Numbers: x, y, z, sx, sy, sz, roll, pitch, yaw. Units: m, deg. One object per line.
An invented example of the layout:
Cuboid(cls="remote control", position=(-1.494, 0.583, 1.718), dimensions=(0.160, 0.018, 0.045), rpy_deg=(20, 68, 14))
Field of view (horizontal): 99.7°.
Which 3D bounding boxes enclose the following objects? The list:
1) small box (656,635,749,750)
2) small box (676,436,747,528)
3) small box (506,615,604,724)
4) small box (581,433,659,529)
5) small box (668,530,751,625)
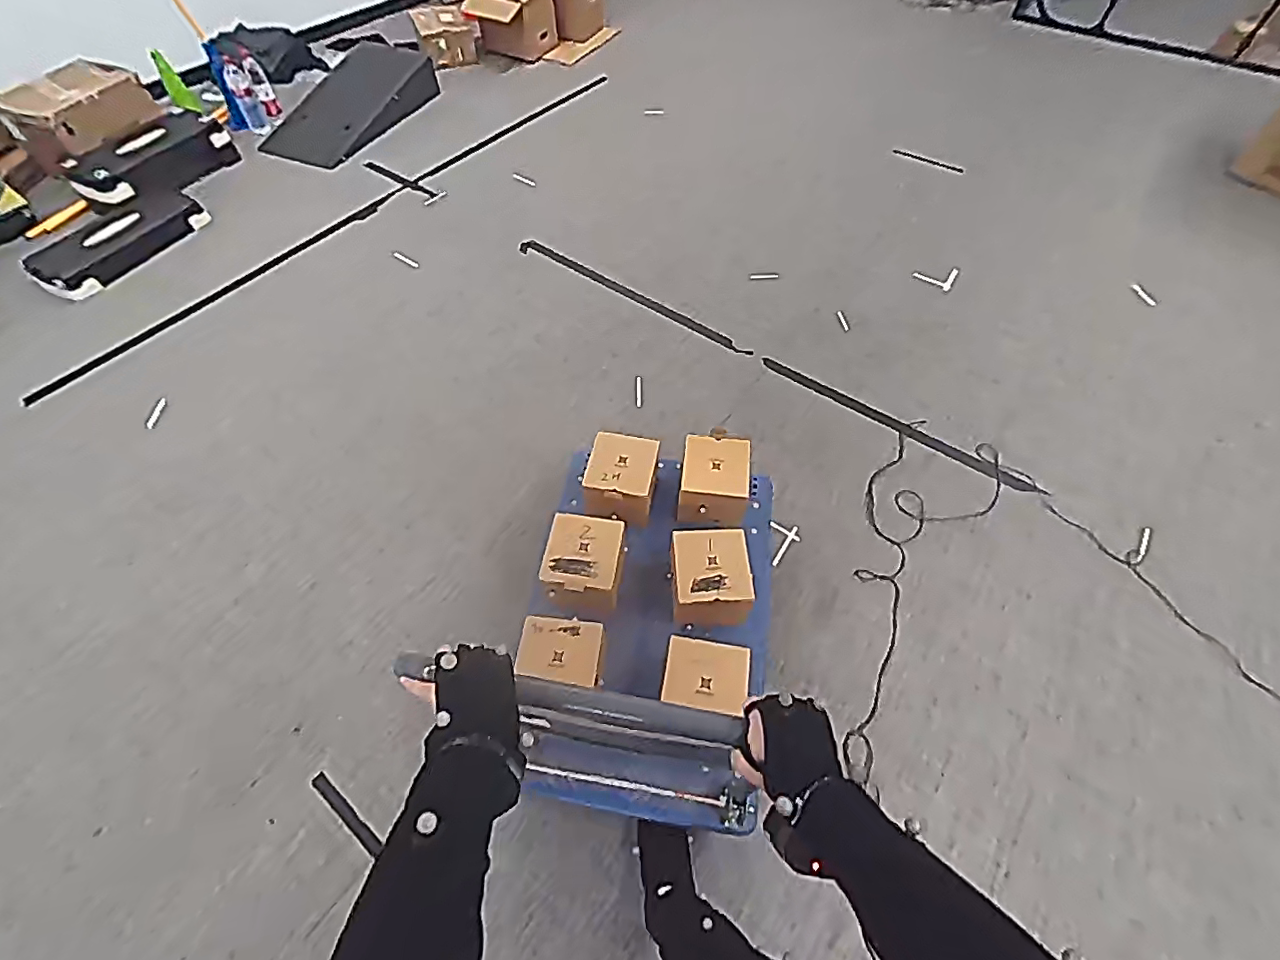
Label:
Cuboid(cls="small box", position=(0.126, 0.448, 1.128), dimensions=(0.168, 0.176, 0.179), rpy_deg=(9, 56, 5))
Cuboid(cls="small box", position=(0.185, 0.010, 1.421), dimensions=(0.168, 0.176, 0.179), rpy_deg=(6, 56, 3))
Cuboid(cls="small box", position=(-0.169, 0.407, 1.148), dimensions=(0.168, 0.176, 0.179), rpy_deg=(6, 57, 2))
Cuboid(cls="small box", position=(-0.050, 0.005, 1.418), dimensions=(0.168, 0.176, 0.179), rpy_deg=(10, 58, 6))
Cuboid(cls="small box", position=(0.156, 0.235, 1.270), dimensions=(0.168, 0.176, 0.179), rpy_deg=(-2, 55, -2))
